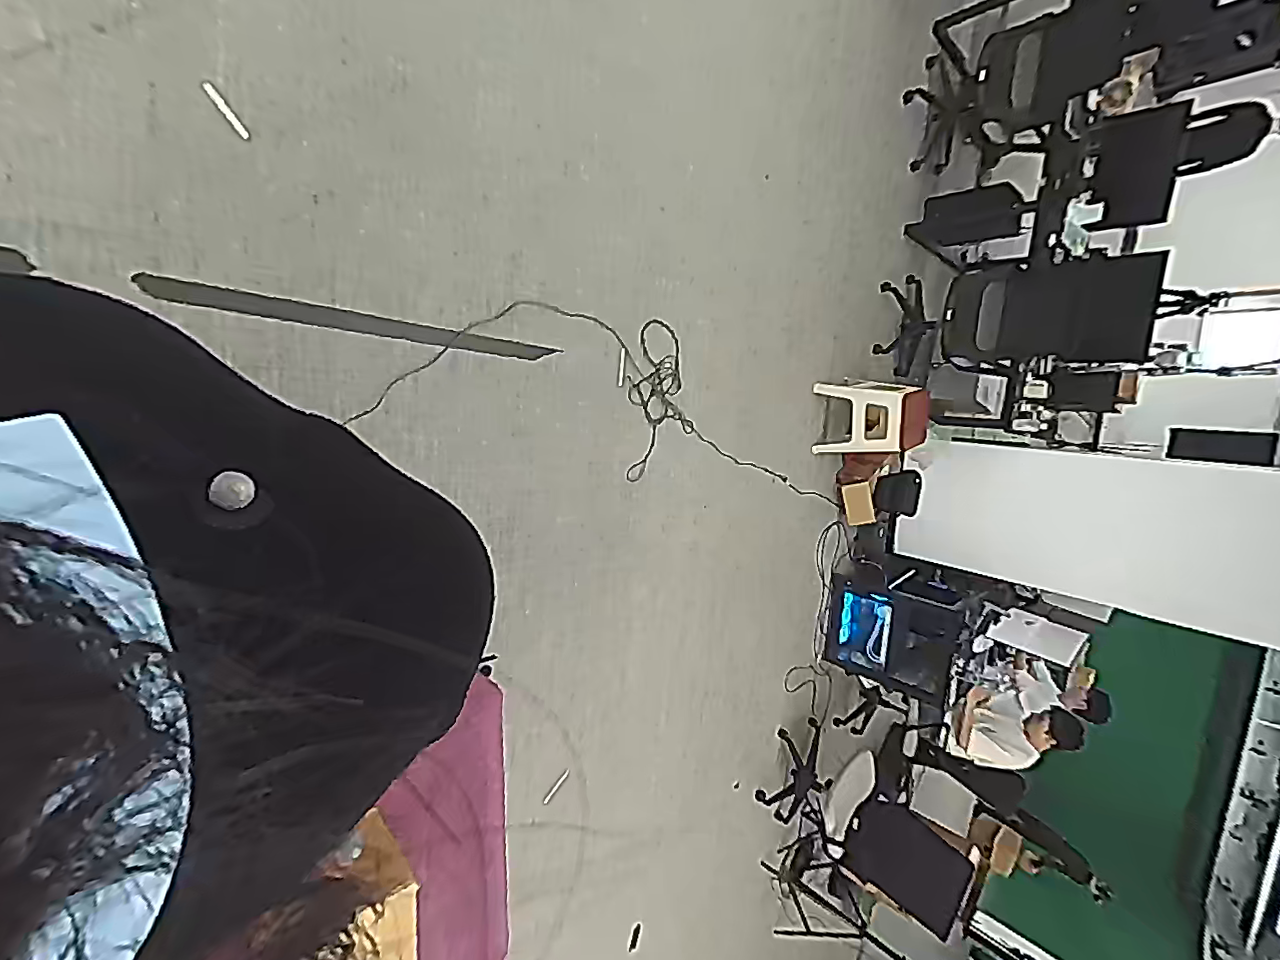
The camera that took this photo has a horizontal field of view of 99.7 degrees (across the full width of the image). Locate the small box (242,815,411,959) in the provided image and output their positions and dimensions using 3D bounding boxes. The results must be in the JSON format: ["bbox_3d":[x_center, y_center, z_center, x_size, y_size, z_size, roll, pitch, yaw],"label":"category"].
[{"bbox_3d":[-0.421,0.605,0.725,0.168,0.176,0.179,-5,101,-42],"label":"small box"}]
